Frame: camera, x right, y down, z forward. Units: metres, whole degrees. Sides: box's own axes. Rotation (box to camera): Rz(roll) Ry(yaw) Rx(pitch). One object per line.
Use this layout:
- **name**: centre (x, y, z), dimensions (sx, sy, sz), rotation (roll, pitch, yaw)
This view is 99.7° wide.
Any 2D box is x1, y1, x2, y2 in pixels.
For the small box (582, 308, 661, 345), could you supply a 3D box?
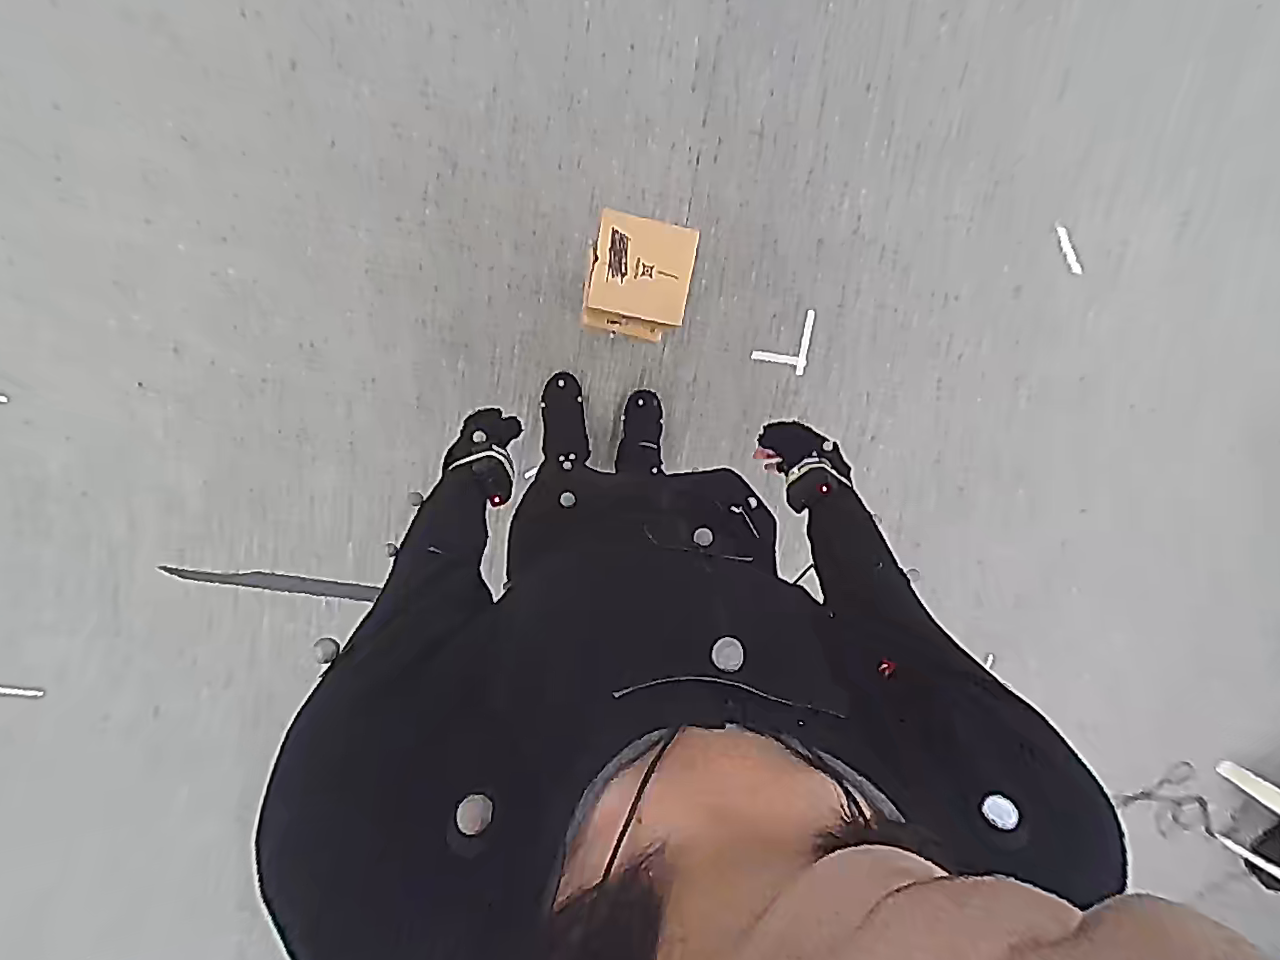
- **small box**: centre (-0.031, -0.404, 1.182), dimensions (0.168, 0.176, 0.179), rotation (12, 100, -9)

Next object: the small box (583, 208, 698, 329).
- **small box**: centre (-0.009, -0.385, 1.018), dimensions (0.179, 0.176, 0.168), rotation (10, 101, -10)
